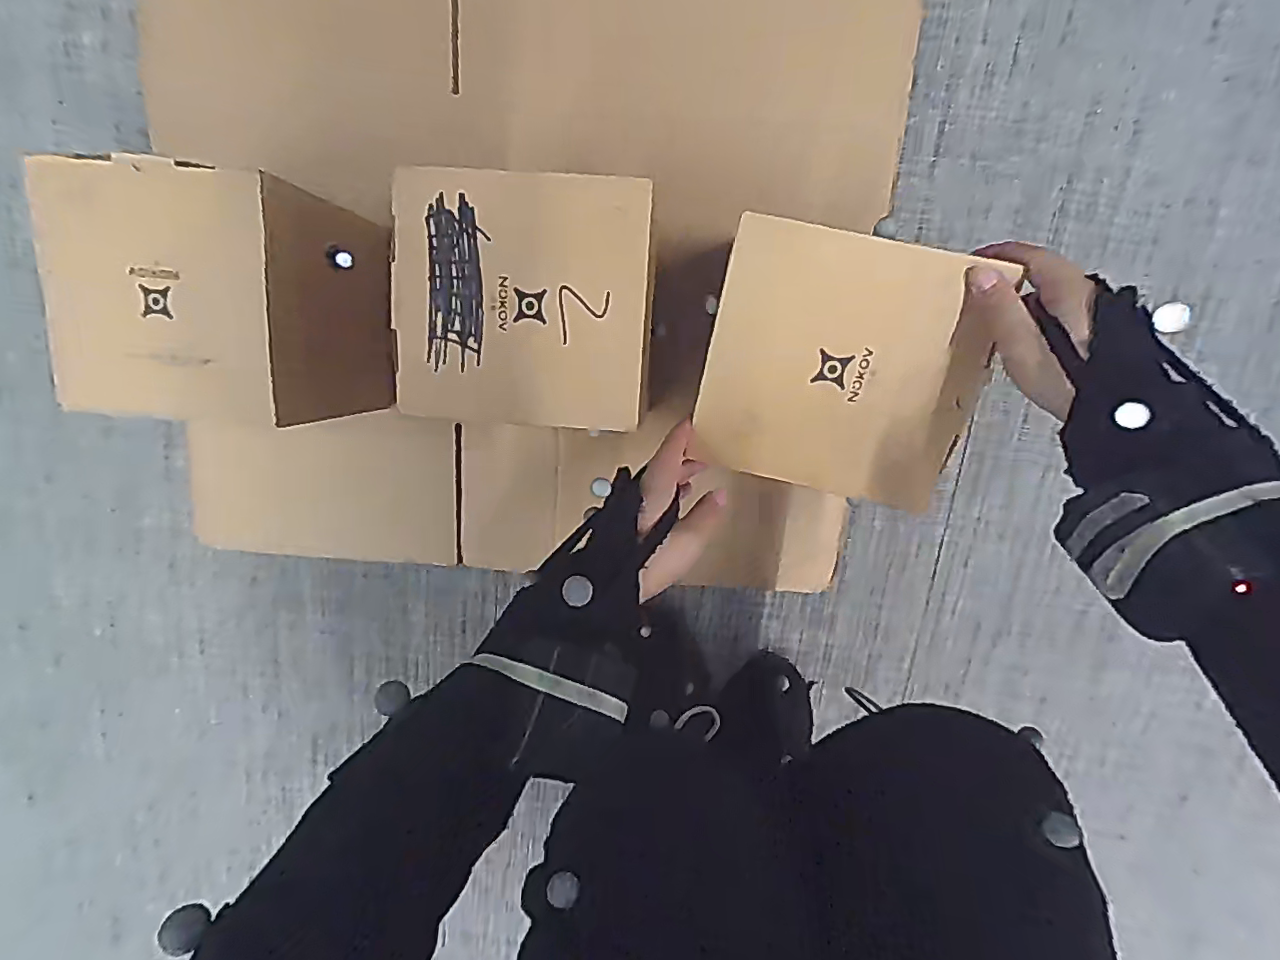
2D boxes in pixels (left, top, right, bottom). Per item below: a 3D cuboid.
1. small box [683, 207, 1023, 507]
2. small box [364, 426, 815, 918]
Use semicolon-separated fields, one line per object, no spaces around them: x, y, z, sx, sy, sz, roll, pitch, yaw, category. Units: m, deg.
0.141;-0.100;0.429;0.179;0.176;0.168;13;110;4;small box
-0.026;0.102;0.300;0.176;0.179;0.168;-33;143;25;small box
